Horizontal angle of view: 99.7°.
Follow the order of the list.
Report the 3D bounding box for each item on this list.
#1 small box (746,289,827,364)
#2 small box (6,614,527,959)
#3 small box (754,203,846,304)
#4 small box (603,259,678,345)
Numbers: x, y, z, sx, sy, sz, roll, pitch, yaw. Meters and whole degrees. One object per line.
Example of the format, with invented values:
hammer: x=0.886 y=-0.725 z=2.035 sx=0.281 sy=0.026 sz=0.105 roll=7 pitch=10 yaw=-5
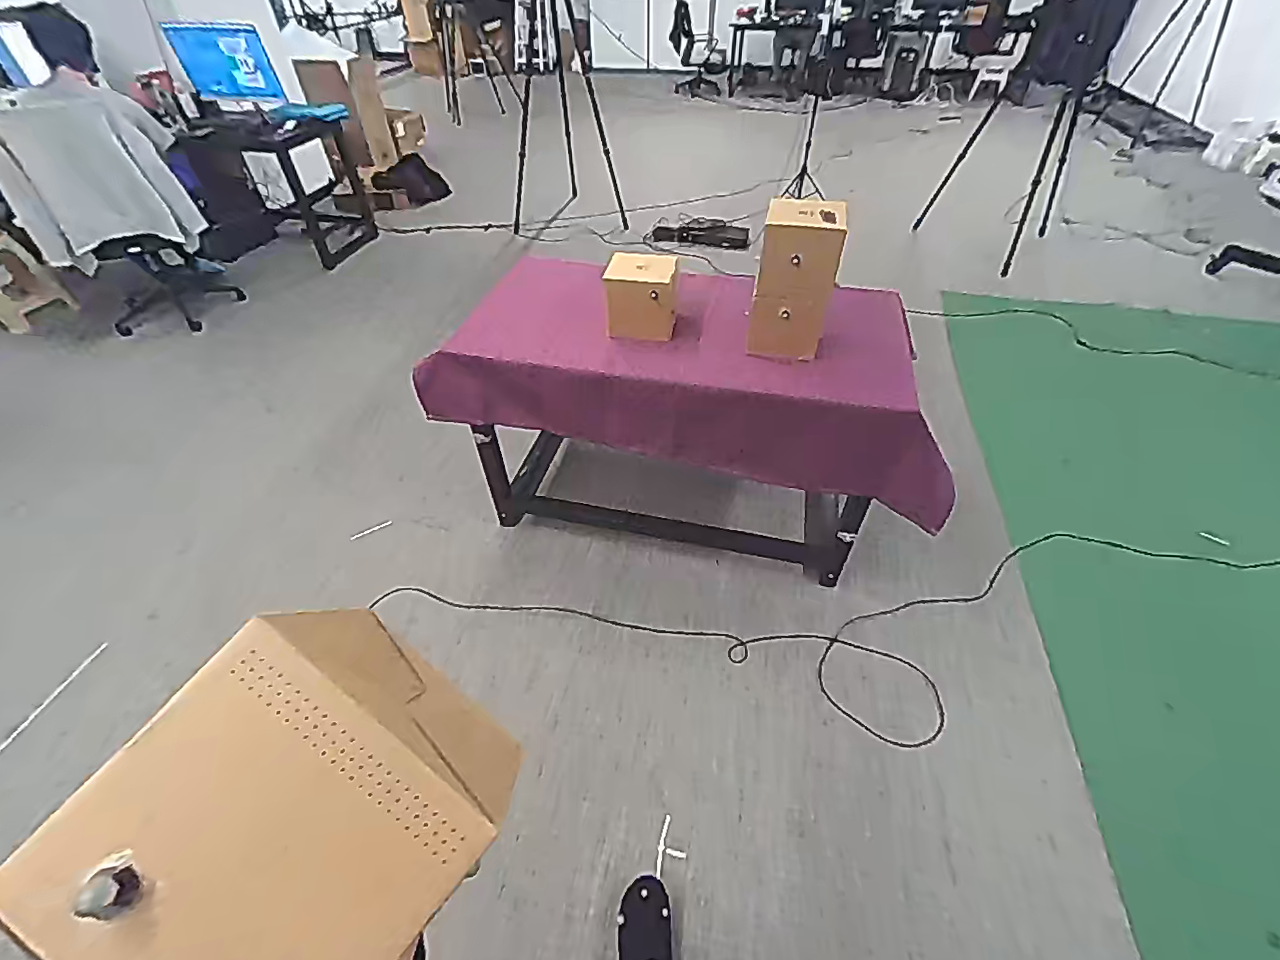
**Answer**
small box: x=0.374 y=-0.415 z=1.388 sx=0.179 sy=0.176 sz=0.168 roll=10 pitch=46 yaw=11
small box: x=-0.196 y=0.205 z=0.349 sx=0.179 sy=0.168 sz=0.176 roll=40 pitch=77 yaw=2
small box: x=0.374 y=-0.530 z=1.271 sx=0.179 sy=0.176 sz=0.168 roll=9 pitch=46 yaw=12
small box: x=0.004 y=-0.481 z=1.469 sx=0.179 sy=0.176 sz=0.168 roll=7 pitch=45 yaw=7
